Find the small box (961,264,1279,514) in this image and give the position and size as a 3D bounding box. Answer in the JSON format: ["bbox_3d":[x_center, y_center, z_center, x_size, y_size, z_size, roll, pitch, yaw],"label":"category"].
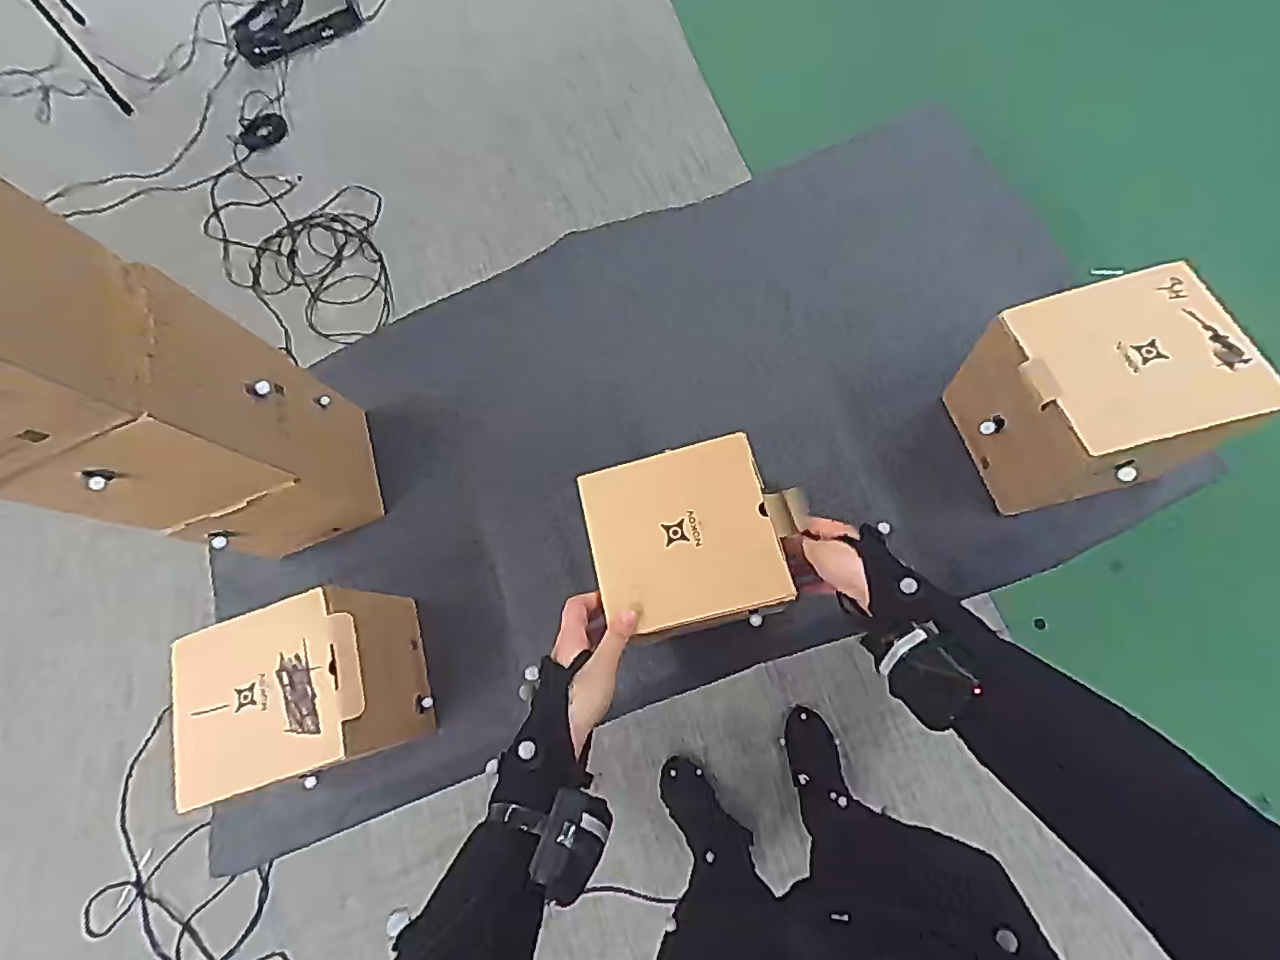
[{"bbox_3d":[0.463,-0.079,0.555,0.179,0.176,0.168,-15,67,6],"label":"small box"}]

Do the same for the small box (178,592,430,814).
[{"bbox_3d":[-0.355,0.233,0.600,0.179,0.176,0.168,-20,71,3],"label":"small box"}]

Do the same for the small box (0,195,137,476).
[{"bbox_3d":[-0.511,-0.111,0.384,0.168,0.176,0.179,-24,70,0],"label":"small box"}]

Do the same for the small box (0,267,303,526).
[{"bbox_3d":[-0.480,-0.067,0.537,0.179,0.176,0.168,-20,72,2],"label":"small box"}]

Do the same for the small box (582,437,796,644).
[{"bbox_3d":[0.054,0.077,0.584,0.179,0.176,0.168,-15,71,5],"label":"small box"}]
